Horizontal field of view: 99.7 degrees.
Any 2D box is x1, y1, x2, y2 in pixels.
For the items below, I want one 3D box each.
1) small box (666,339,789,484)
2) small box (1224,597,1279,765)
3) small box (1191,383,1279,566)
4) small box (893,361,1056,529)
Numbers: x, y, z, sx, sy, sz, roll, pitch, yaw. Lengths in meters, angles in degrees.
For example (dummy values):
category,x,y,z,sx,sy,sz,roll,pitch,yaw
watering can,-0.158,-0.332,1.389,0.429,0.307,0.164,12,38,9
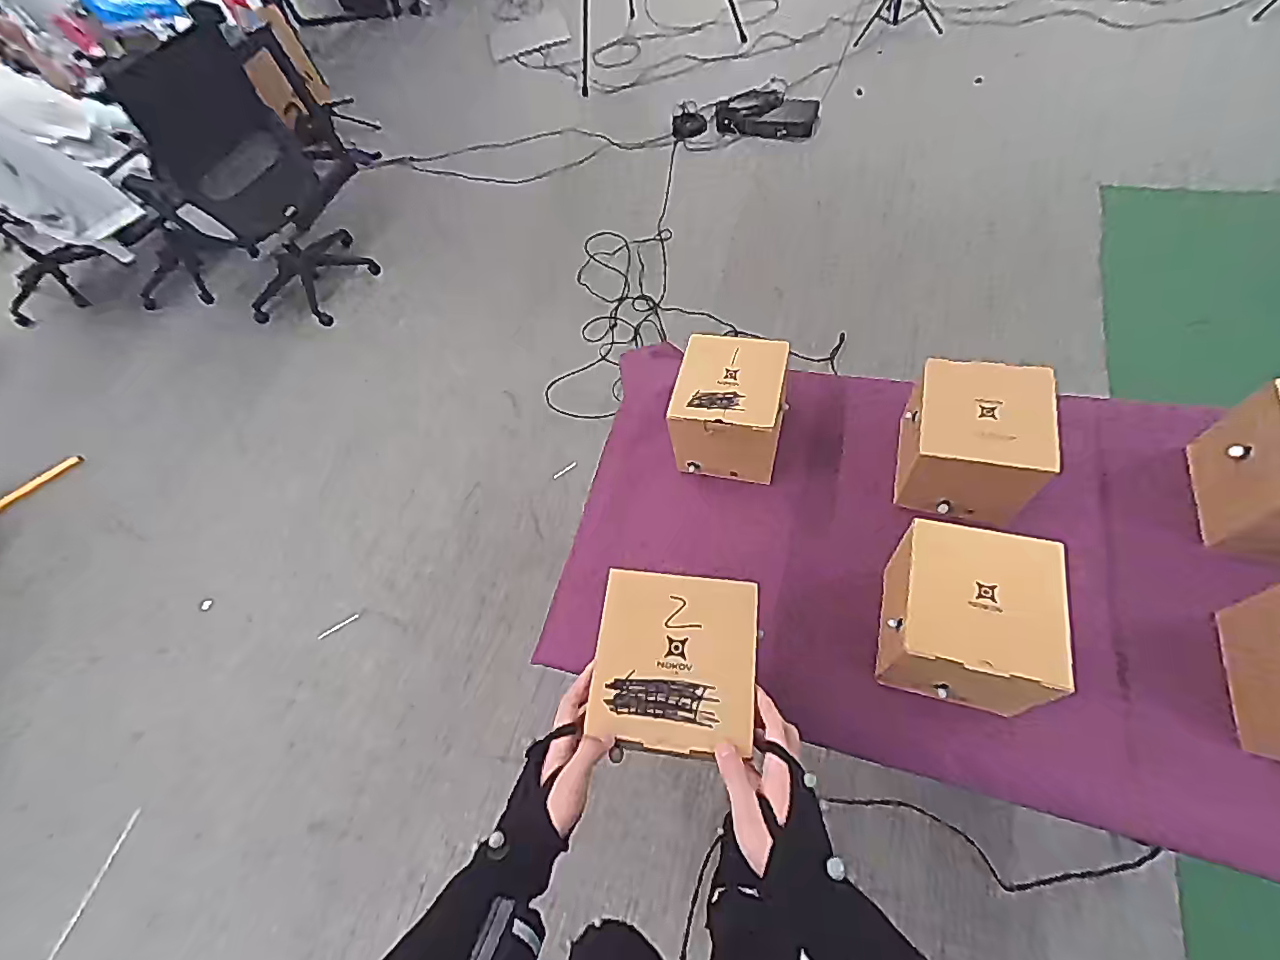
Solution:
category,x,y,z,sx,sy,sz,roll,pitch,yaw
small box,0.153,-0.112,0.915,0.168,0.176,0.179,9,62,16
small box,0.793,0.223,0.581,0.168,0.176,0.179,11,61,19
small box,0.872,0.002,0.698,0.168,0.176,0.179,9,62,17
small box,0.490,-0.050,0.812,0.168,0.176,0.179,10,63,18
